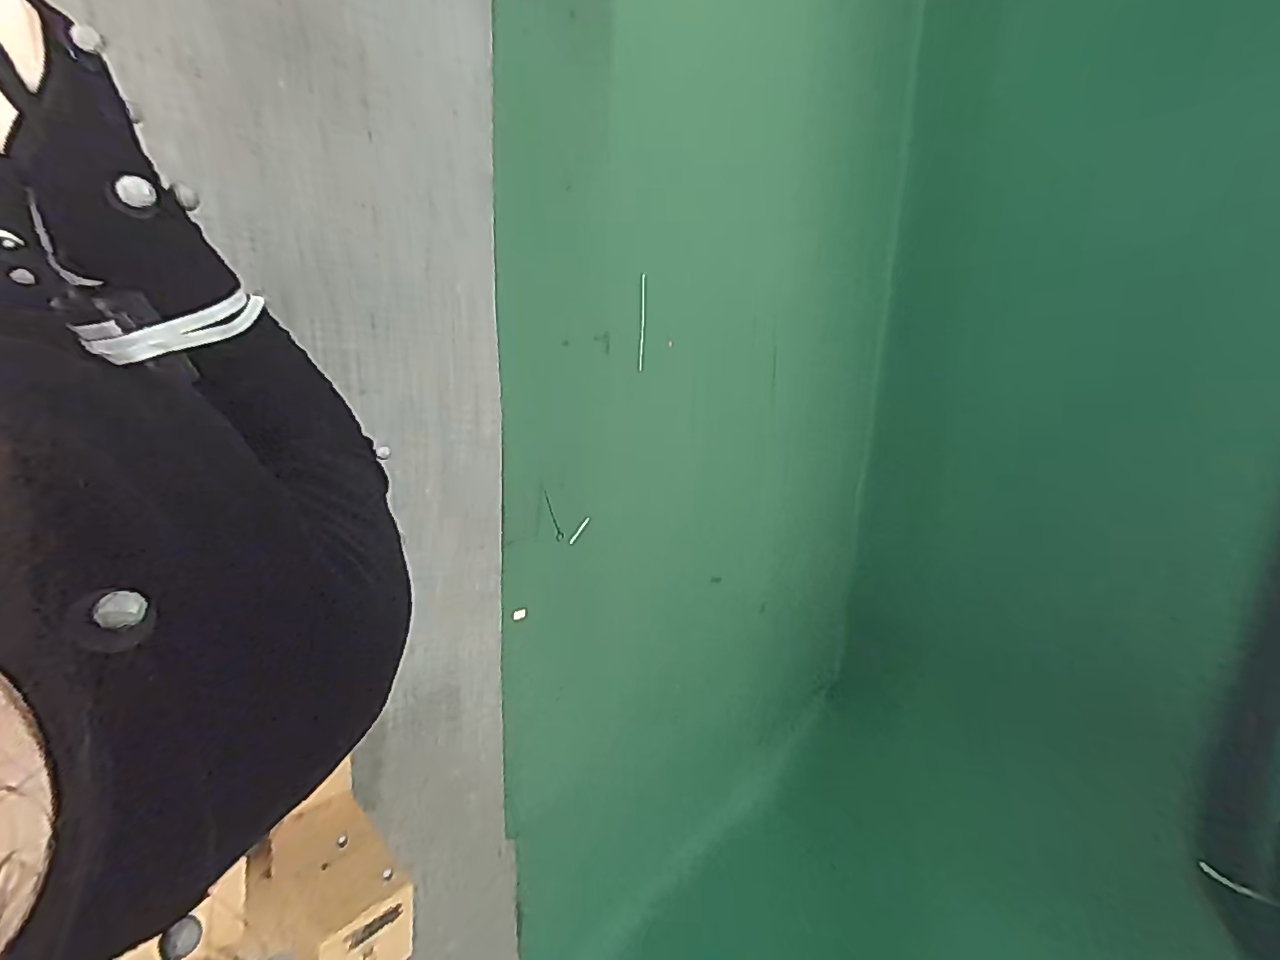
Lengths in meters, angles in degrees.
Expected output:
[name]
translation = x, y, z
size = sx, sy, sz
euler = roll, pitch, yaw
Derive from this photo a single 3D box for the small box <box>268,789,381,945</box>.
[small box]
translation = -0.679, 0.814, 1.159
size = 0.168, 0.176, 0.179
euler = -2, 104, -48
